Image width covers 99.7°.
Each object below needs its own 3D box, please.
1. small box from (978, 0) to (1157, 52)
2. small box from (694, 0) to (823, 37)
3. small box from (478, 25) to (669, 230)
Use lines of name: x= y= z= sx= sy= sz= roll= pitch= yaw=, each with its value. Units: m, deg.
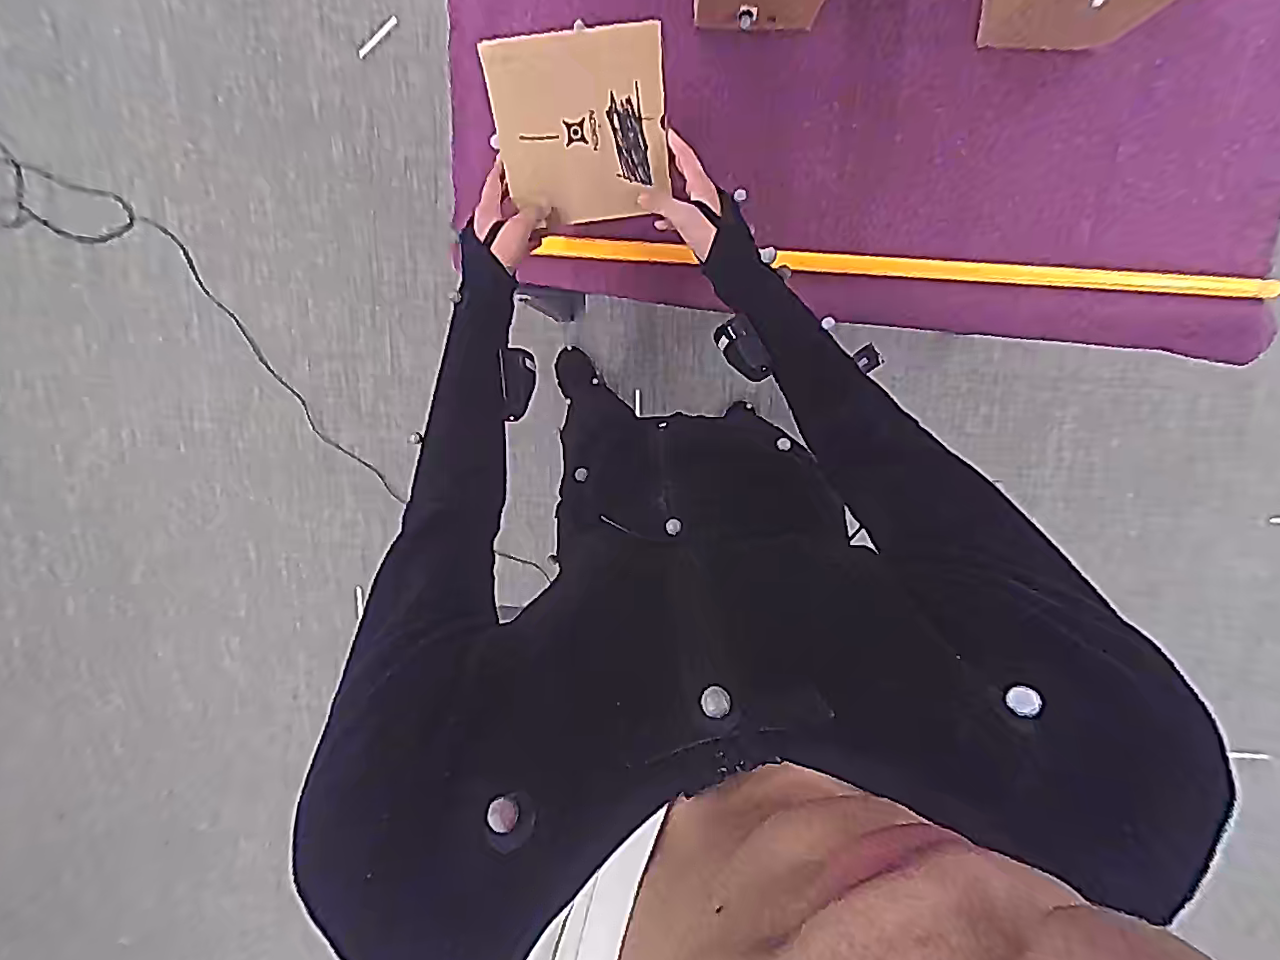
small box: x=0.555 y=-0.664 z=0.663 sx=0.179 sy=0.176 sz=0.168 roll=2 pitch=103 yaw=0
small box: x=0.155 y=-0.693 z=0.662 sx=0.168 sy=0.176 sz=0.179 roll=0 pitch=102 yaw=1
small box: x=-0.072 y=-0.393 z=0.618 sx=0.179 sy=0.176 sz=0.168 roll=-9 pitch=120 yaw=-3
